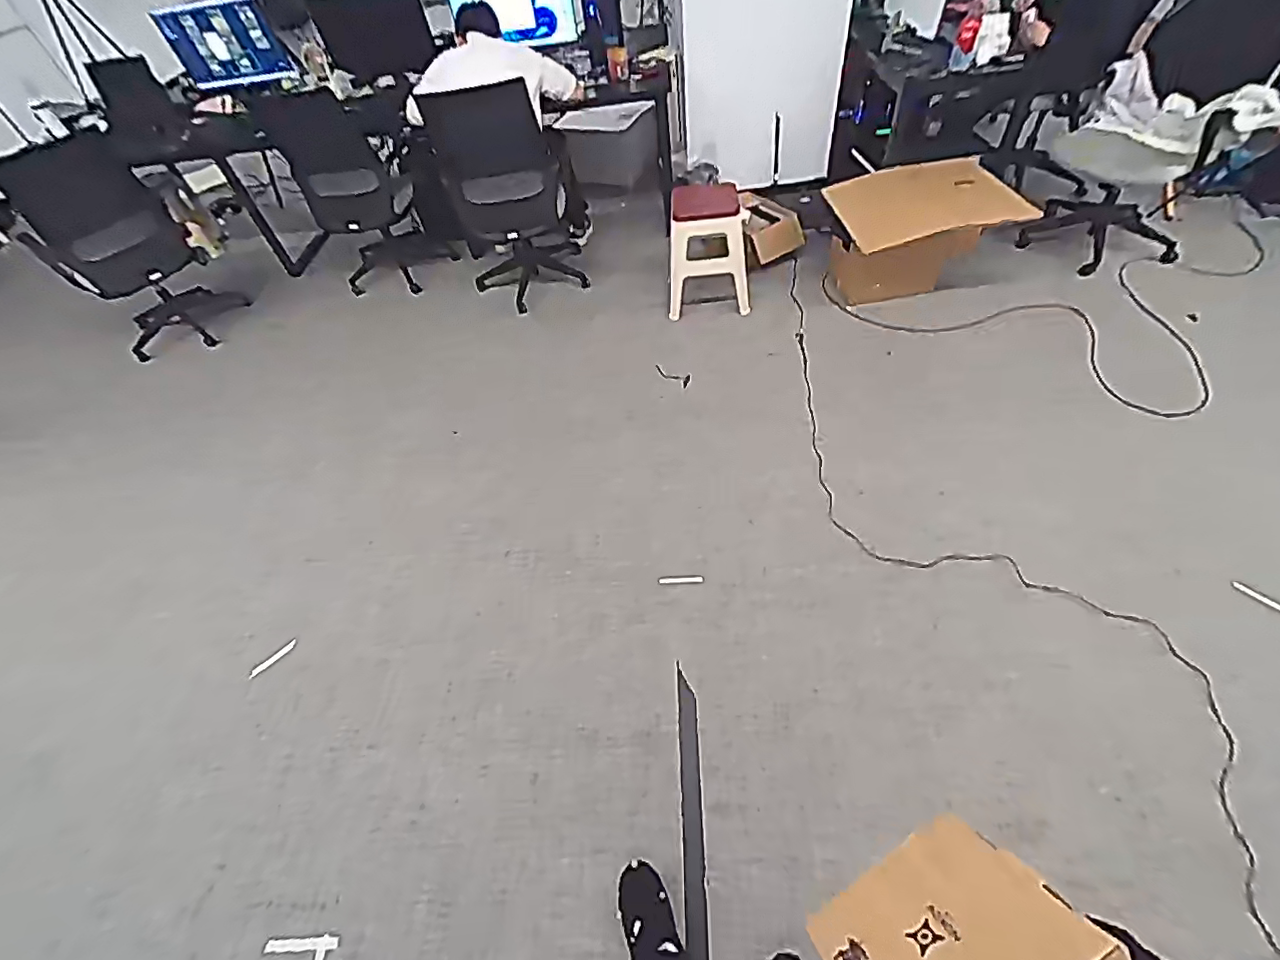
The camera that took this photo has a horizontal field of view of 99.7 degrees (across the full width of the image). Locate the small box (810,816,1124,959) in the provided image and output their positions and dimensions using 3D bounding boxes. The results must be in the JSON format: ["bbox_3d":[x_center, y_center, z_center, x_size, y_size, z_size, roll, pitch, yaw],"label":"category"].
[{"bbox_3d":[0.278,0.431,0.434,0.179,0.168,0.176,-29,89,-8],"label":"small box"}]
